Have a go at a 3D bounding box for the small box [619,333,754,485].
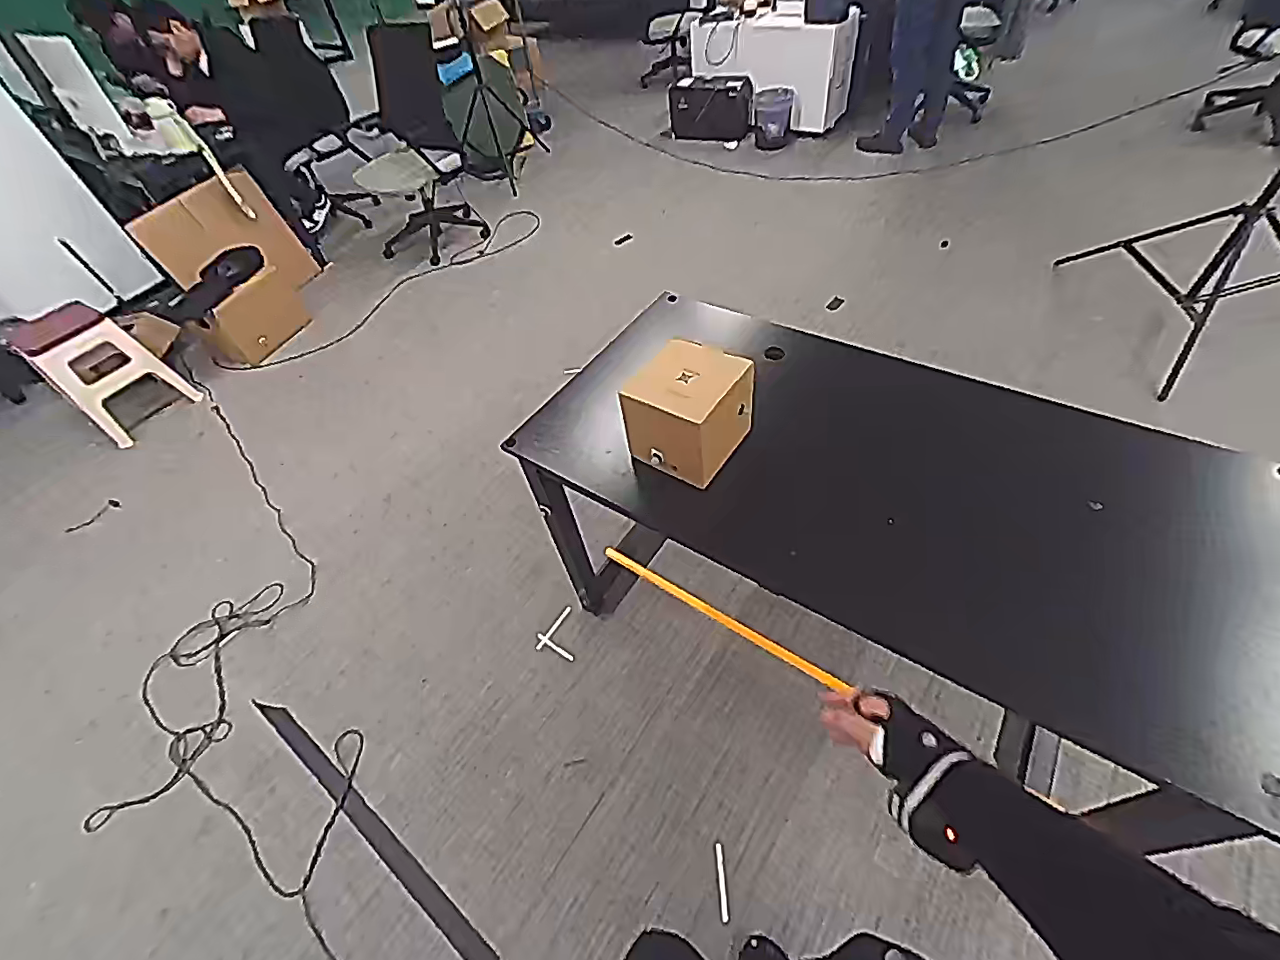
[{"bbox_3d":[0.086,-0.126,0.961,0.168,0.176,0.179,25,59,27],"label":"small box"}]
